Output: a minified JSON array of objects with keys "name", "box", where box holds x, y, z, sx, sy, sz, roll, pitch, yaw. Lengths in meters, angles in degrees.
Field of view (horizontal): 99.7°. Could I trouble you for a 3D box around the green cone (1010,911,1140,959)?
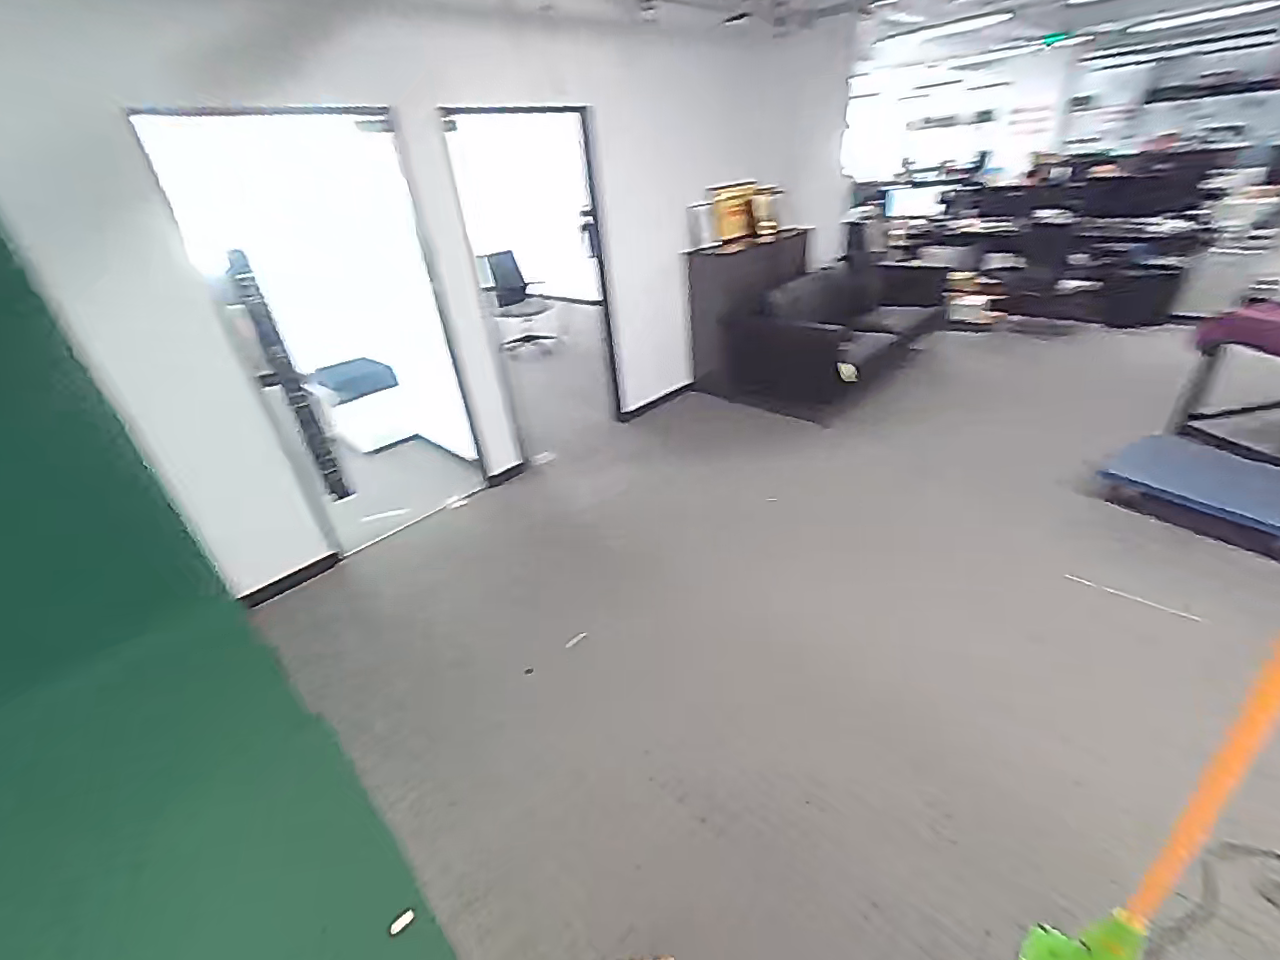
[{"name":"green cone","box":[0.950,1.008,1.139,0.200,0.368,0.202,-30,39,-35]}]
